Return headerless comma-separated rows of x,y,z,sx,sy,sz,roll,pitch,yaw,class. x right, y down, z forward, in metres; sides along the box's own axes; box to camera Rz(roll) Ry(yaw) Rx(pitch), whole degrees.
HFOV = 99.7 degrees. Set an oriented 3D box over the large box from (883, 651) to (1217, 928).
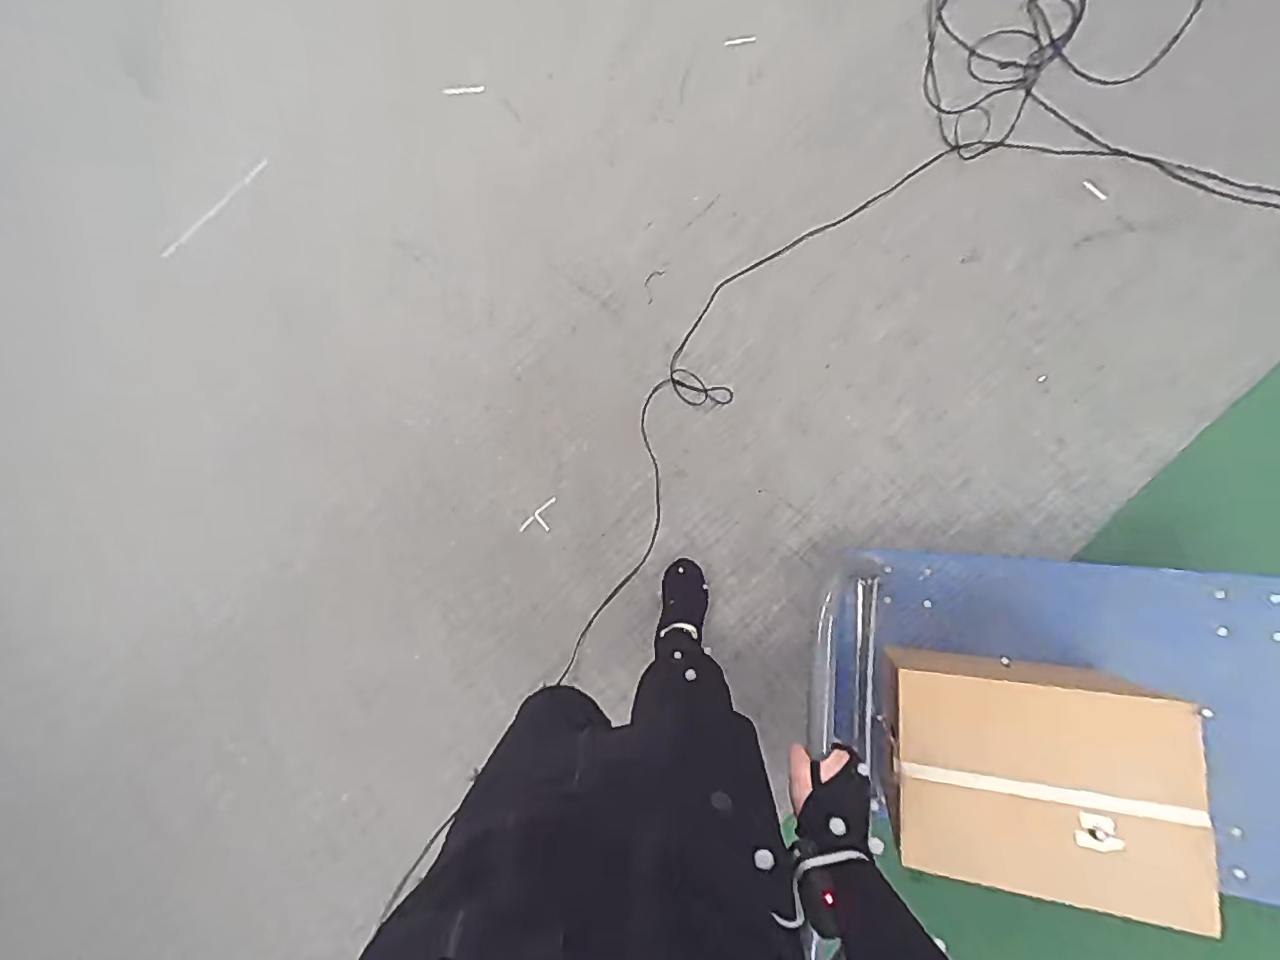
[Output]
0.673,0.501,0.977,0.408,0.320,0.320,2,81,19,large box
